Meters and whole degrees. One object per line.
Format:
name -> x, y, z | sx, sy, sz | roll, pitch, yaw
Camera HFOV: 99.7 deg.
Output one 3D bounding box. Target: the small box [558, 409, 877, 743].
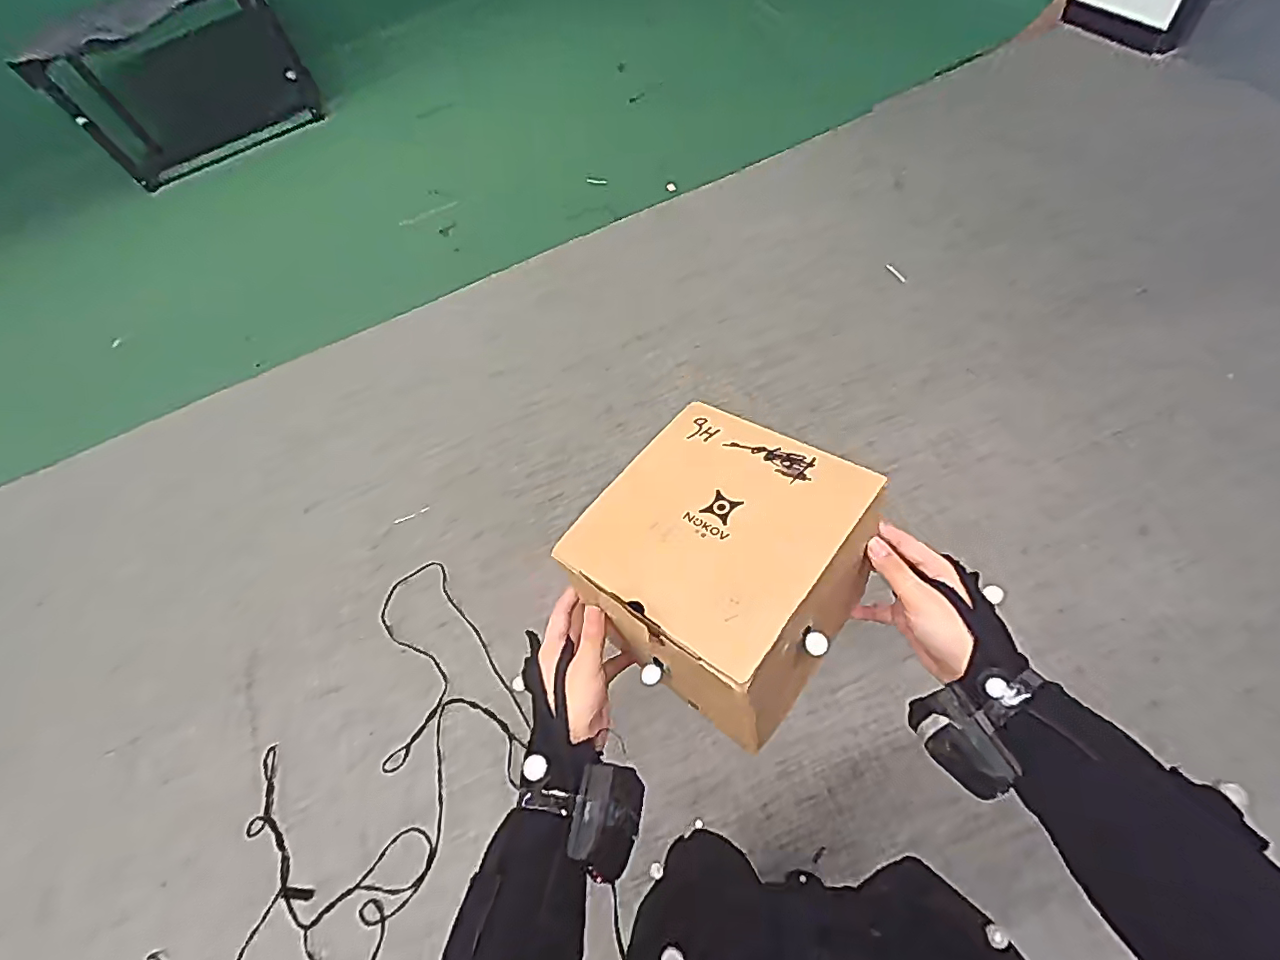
small box -> 0.070, 0.079, 0.442 | 0.168, 0.176, 0.179 | 28, 65, 33
